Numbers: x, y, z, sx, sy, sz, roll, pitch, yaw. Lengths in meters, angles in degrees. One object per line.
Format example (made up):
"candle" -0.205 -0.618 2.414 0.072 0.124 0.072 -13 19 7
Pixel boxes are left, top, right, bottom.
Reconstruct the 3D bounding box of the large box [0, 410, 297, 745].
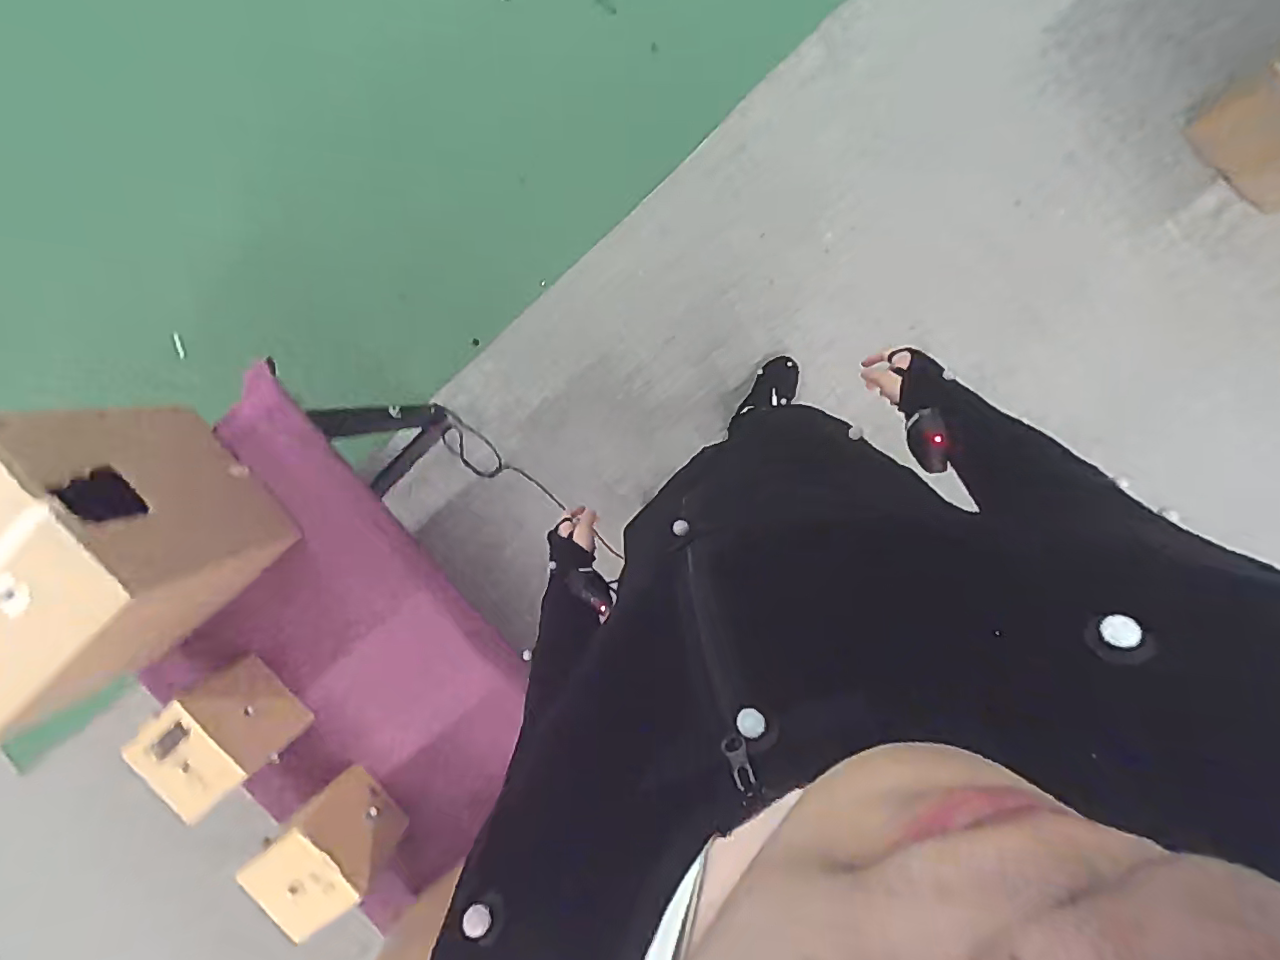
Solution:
"large box" -0.882 0.133 0.872 0.408 0.320 0.320 -39 94 10

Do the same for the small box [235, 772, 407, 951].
"small box" -0.572 0.689 0.994 0.179 0.176 0.168 -40 94 11
